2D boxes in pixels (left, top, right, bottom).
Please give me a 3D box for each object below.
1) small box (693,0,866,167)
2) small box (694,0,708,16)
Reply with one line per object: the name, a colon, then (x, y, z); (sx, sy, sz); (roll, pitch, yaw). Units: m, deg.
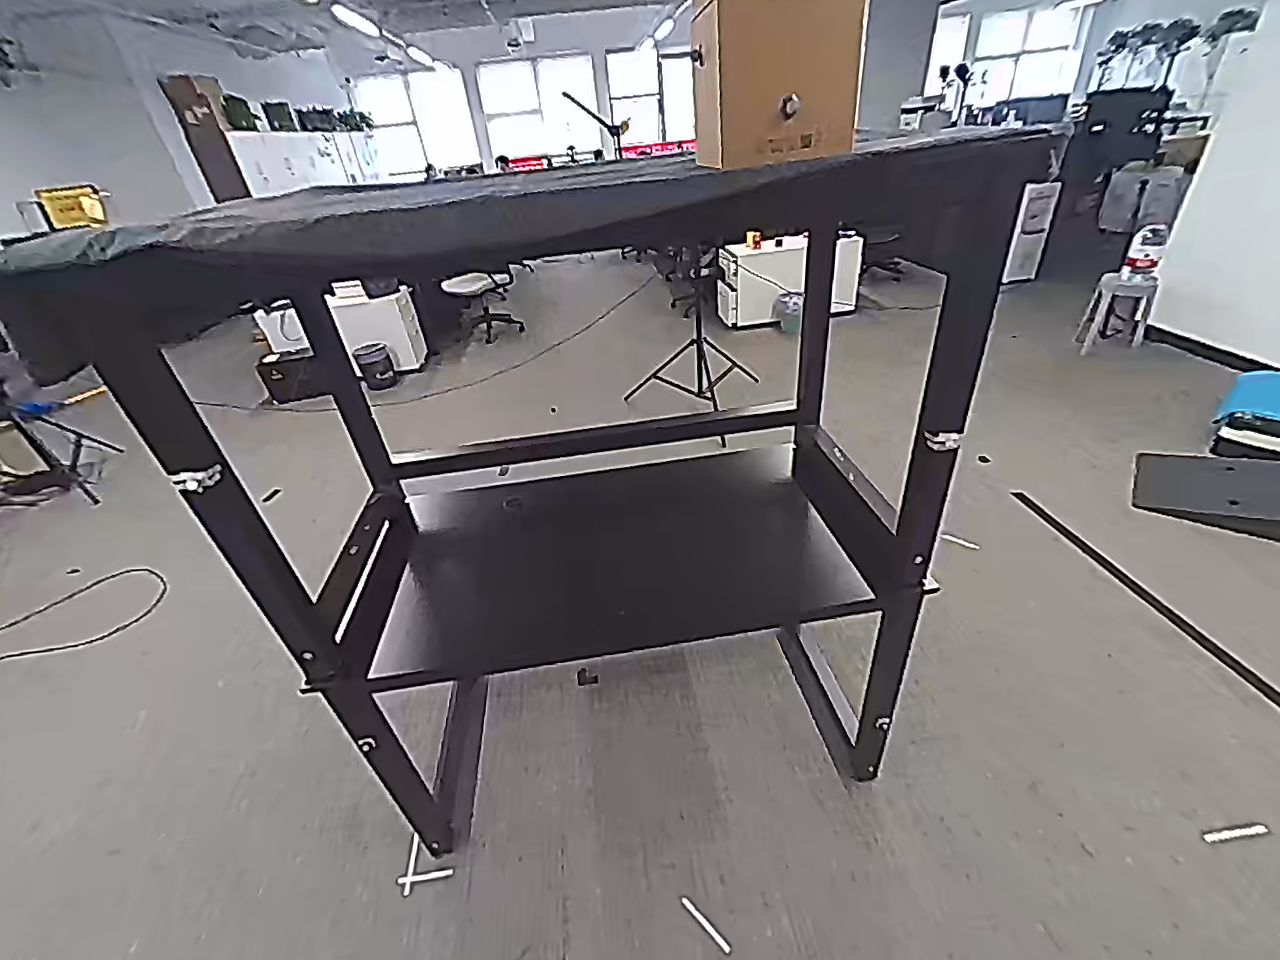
small box: (0.165, -0.504, 0.688); (0.168, 0.176, 0.179); (-9, 32, -1)
small box: (0.149, -0.643, 0.602); (0.168, 0.176, 0.179); (-7, 33, -1)
